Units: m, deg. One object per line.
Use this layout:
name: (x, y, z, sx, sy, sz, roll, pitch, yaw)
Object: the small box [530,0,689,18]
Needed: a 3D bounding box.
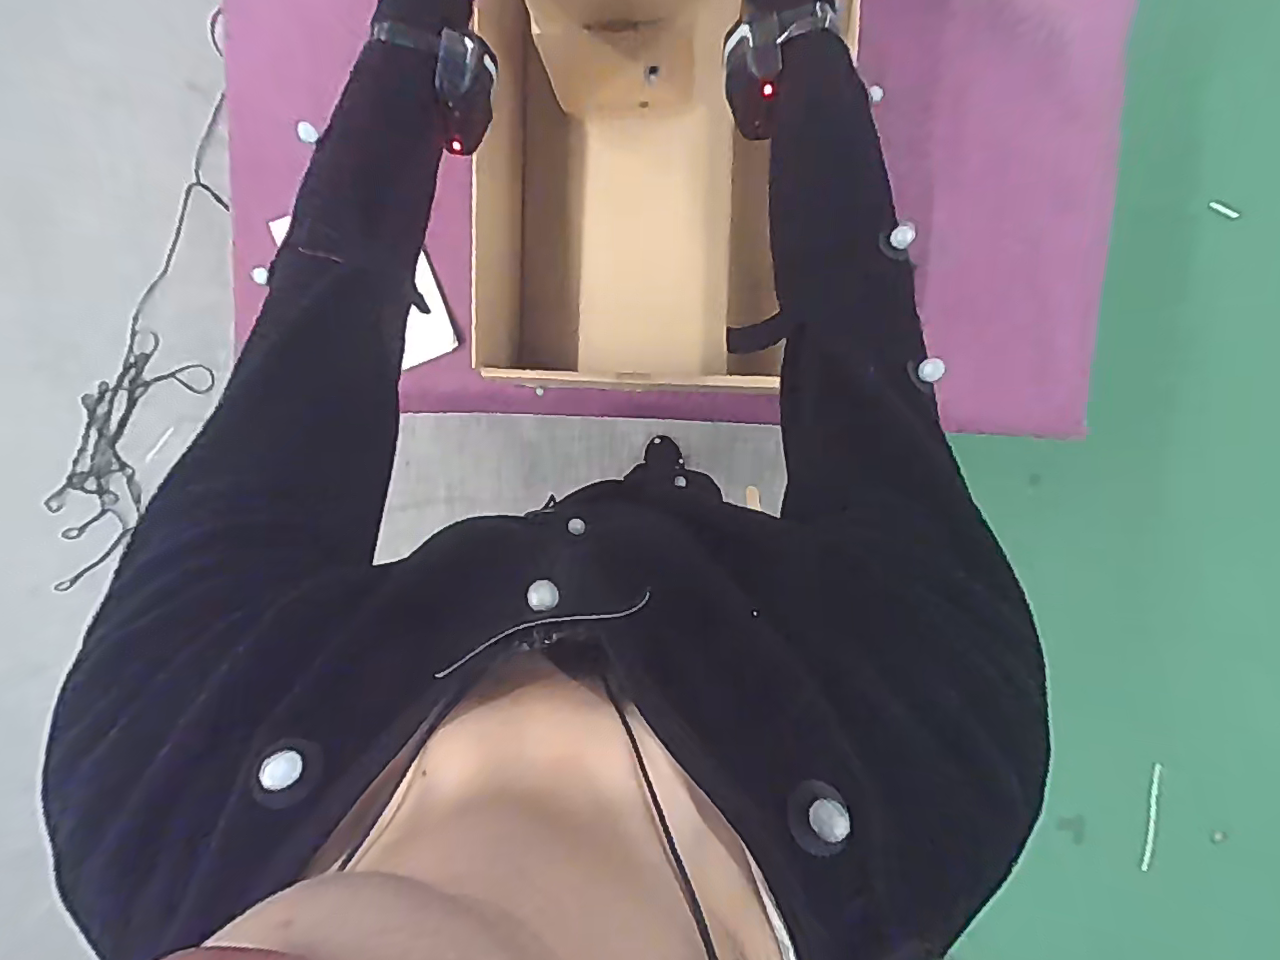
small box: (-0.024, -0.523, 0.437, 0.179, 0.176, 0.168, 0, 96, 4)
